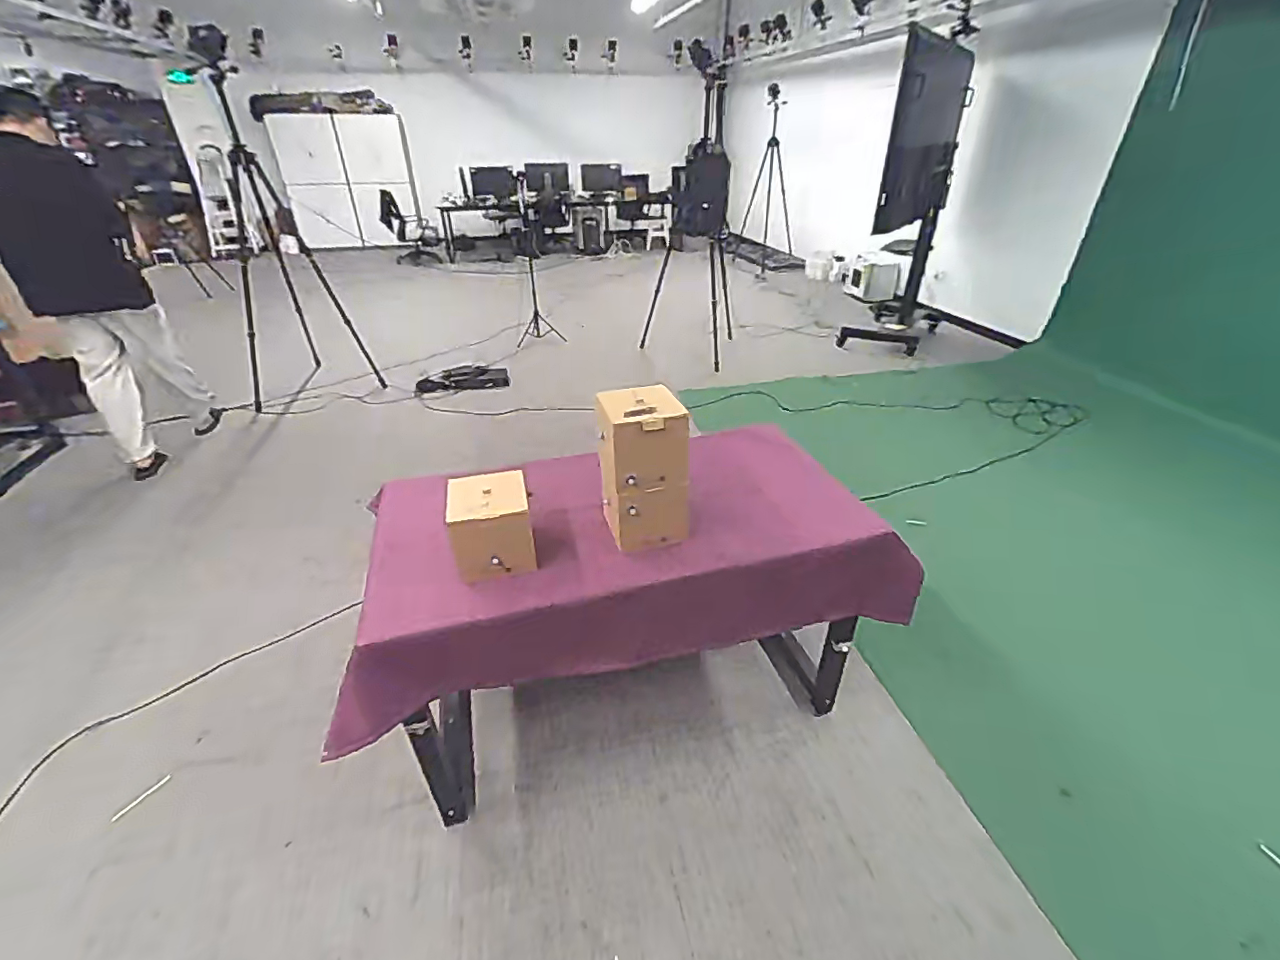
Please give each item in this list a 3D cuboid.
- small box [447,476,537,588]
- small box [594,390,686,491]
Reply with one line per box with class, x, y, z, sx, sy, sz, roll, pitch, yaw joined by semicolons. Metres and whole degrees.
small box;-0.328;0.114;1.209;0.168;0.176;0.179;-9;33;-12
small box;0.000;-0.085;1.208;0.168;0.176;0.179;-10;31;-13
